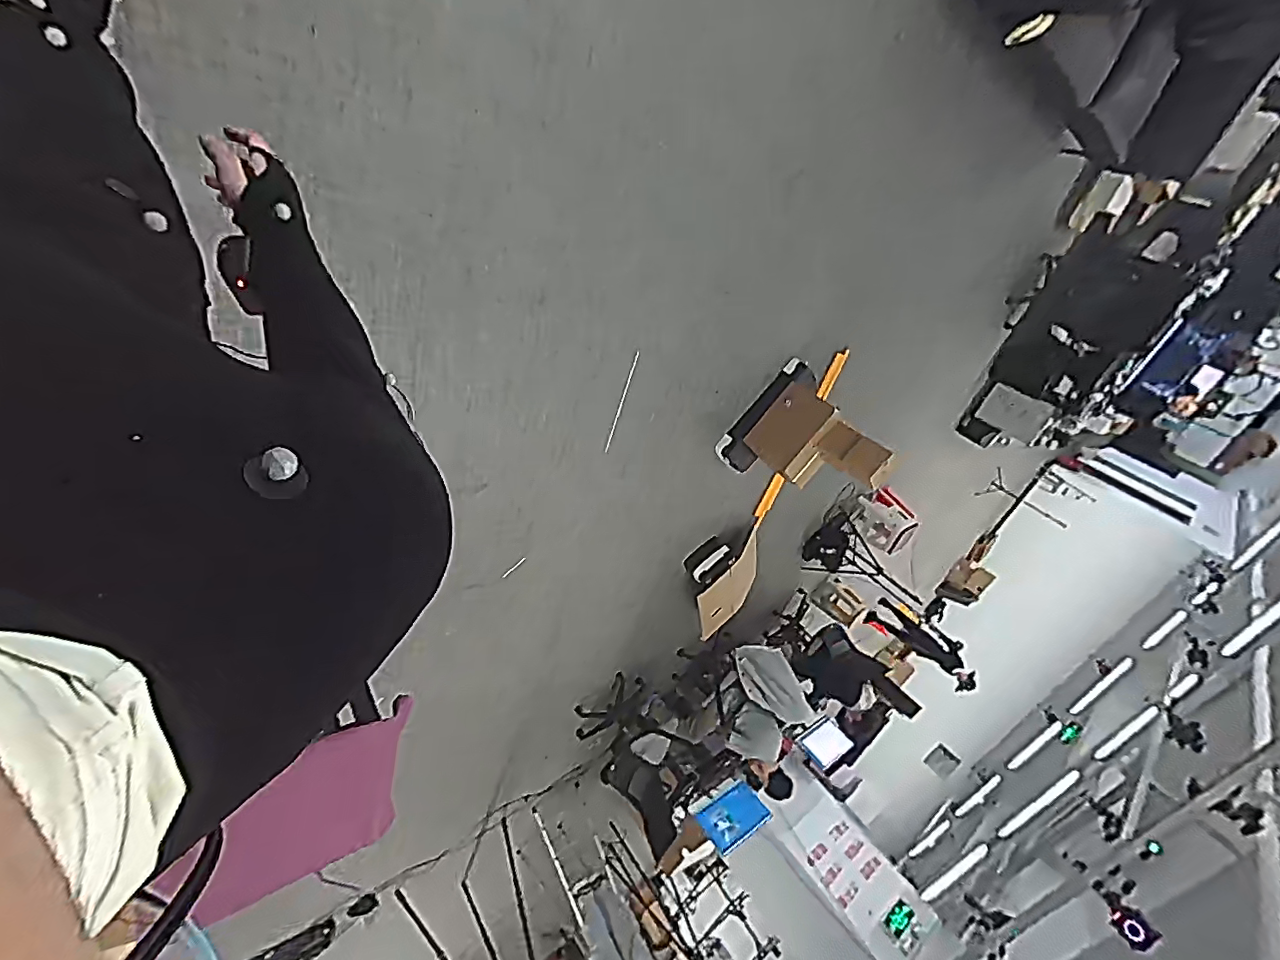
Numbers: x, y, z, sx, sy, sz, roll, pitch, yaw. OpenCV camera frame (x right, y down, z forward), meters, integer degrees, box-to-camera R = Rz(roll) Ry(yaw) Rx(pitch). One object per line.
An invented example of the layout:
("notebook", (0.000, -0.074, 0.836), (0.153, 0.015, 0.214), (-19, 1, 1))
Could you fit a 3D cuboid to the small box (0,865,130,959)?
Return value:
("small box", (-1.133, 0.876, 1.033), (0.179, 0.176, 0.168), (-47, 145, 2))
